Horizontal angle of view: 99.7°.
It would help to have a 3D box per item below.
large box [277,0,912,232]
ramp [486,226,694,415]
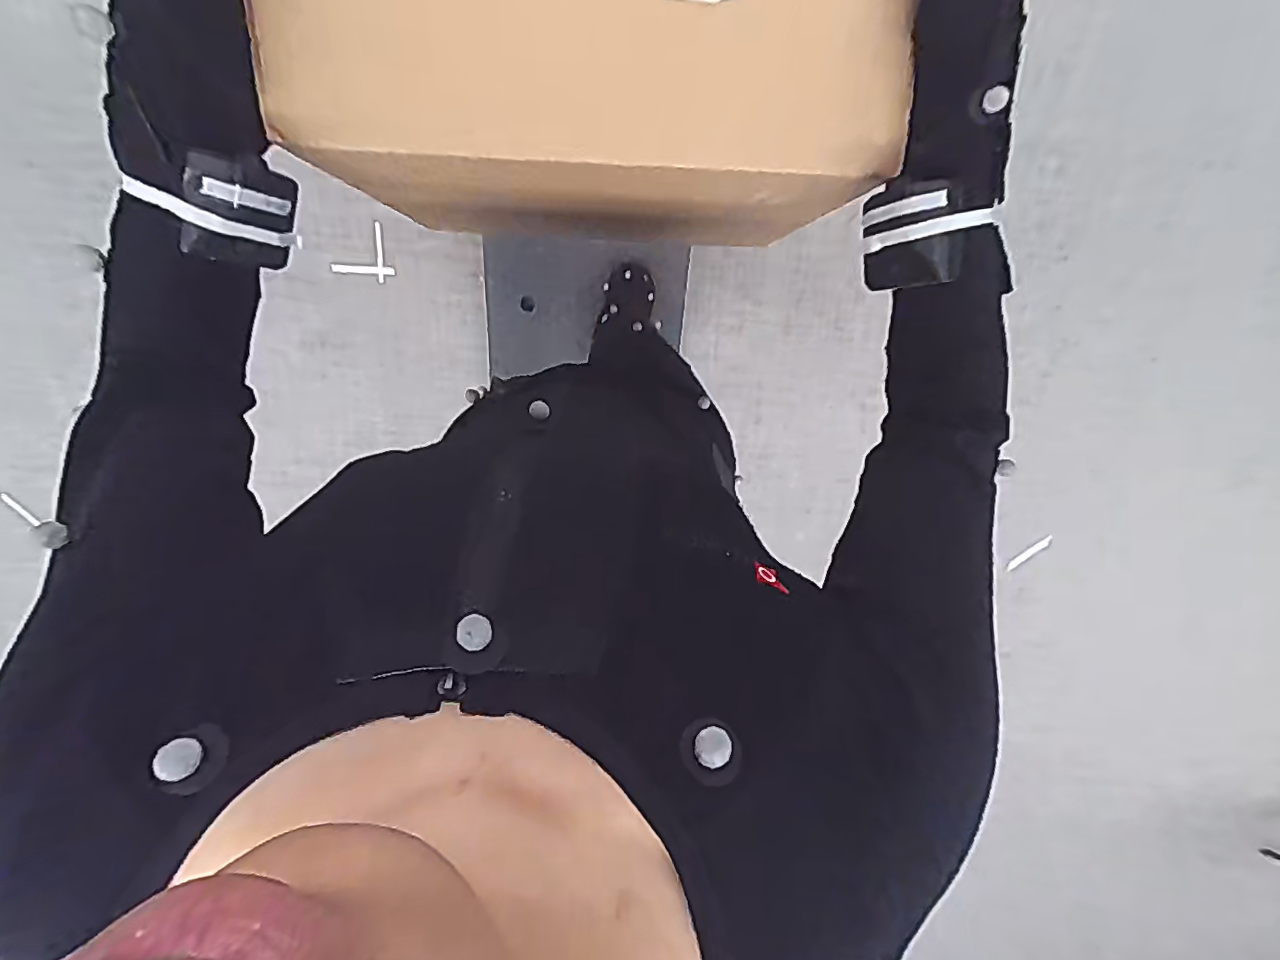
[{"bbox_3d":[-0.032,-0.408,0.461,0.408,0.320,0.320,0,106,-4],"label":"large box"},{"bbox_3d":[-0.112,-0.631,1.254,0.509,0.206,0.991,1,108,-4],"label":"ramp"}]
